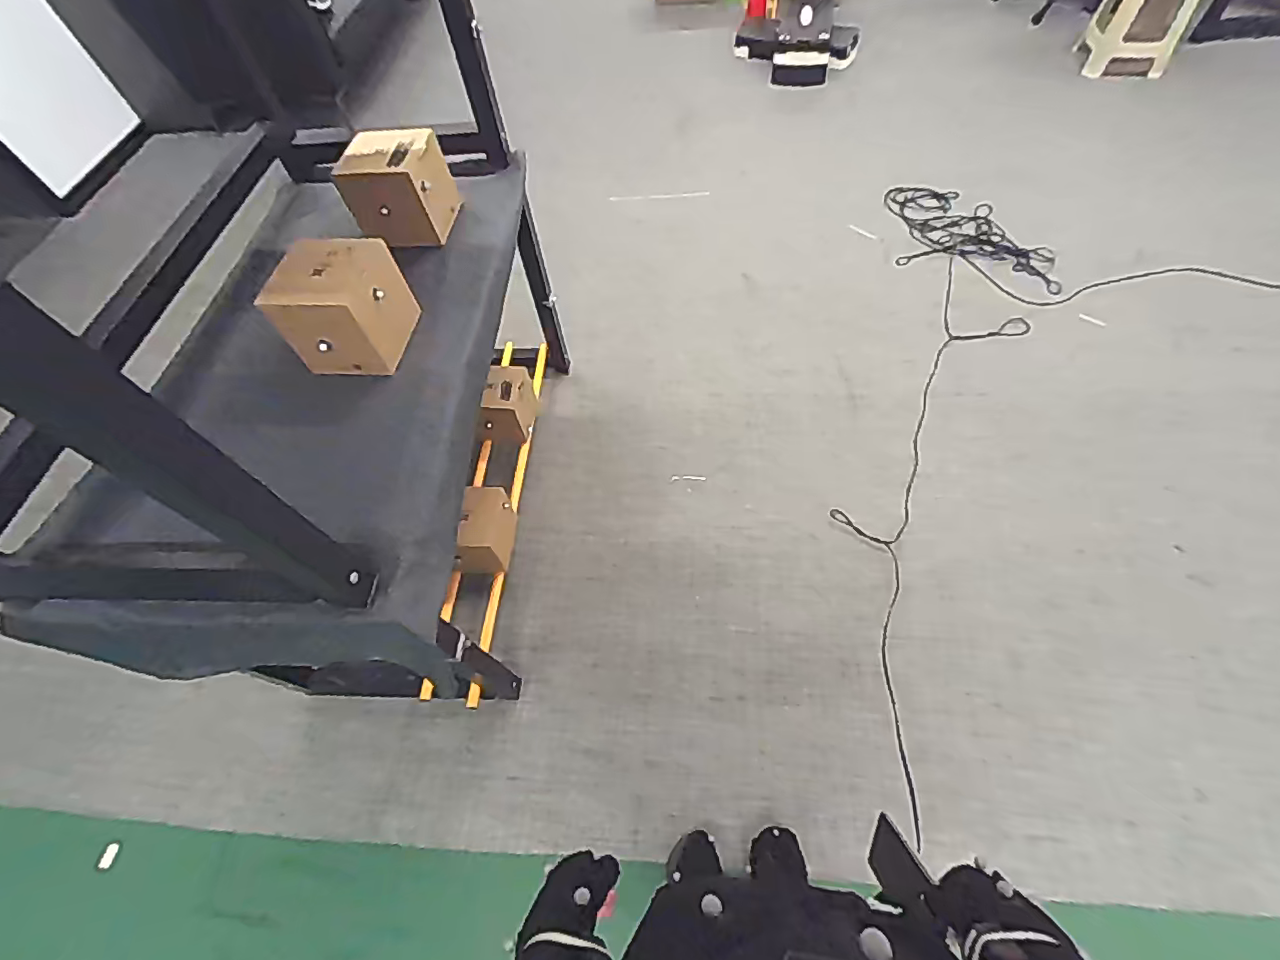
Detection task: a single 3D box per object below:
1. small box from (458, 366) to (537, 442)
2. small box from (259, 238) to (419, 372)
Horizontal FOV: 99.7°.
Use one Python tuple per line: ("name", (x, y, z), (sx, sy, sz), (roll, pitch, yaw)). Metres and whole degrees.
("small box", (-0.430, -0.230, 1.663), (0.179, 0.176, 0.168), (3, 58, 6))
("small box", (-0.533, -0.315, 0.989), (0.168, 0.176, 0.179), (3, 59, 6))
